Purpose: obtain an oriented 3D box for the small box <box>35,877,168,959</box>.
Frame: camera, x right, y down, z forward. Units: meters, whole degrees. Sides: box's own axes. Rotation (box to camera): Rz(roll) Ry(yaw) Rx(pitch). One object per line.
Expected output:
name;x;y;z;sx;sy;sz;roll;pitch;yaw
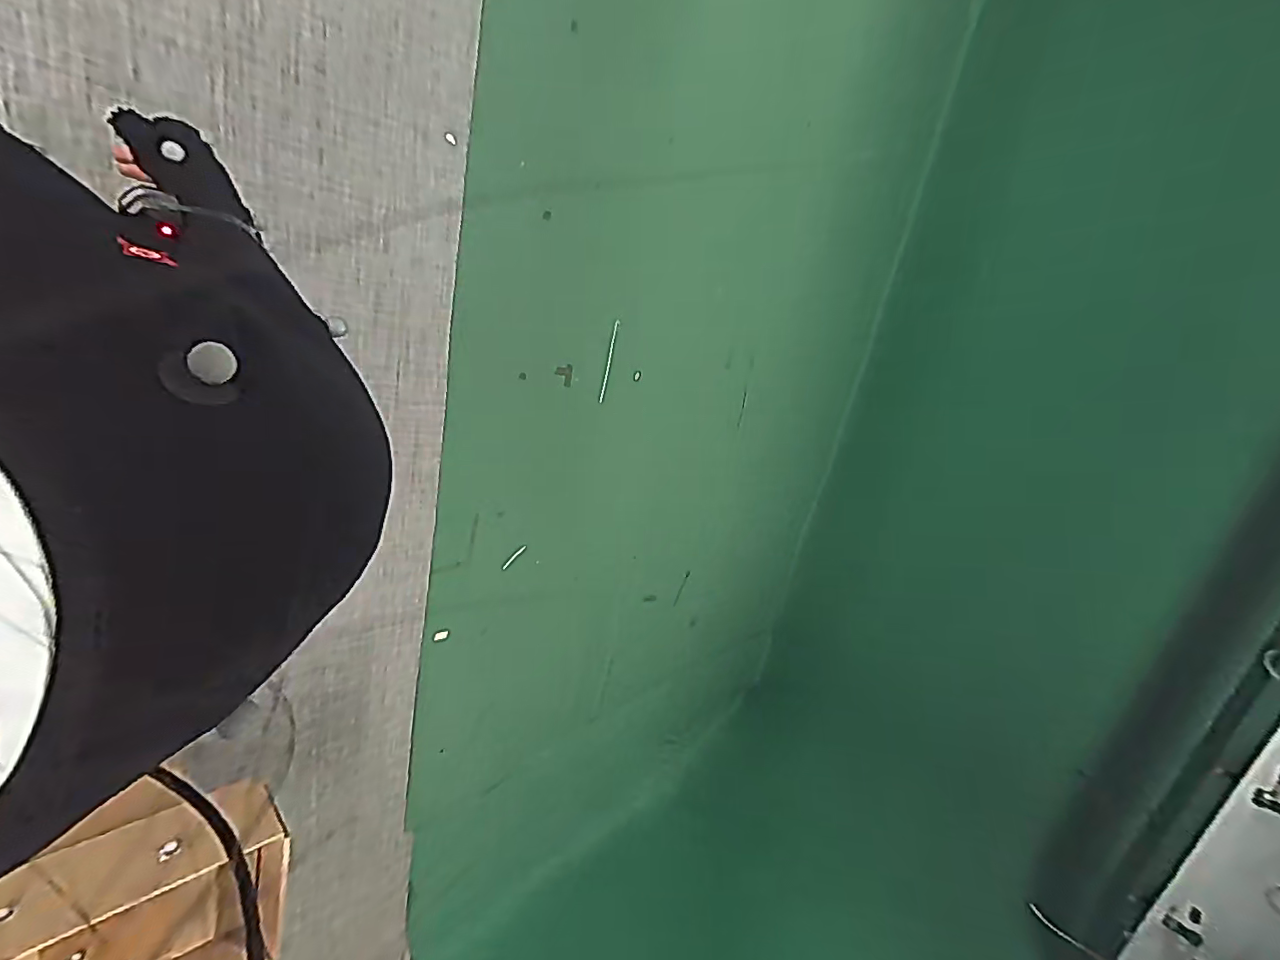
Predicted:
small box;-0.999;0.891;1.006;0.168;0.176;0.179;-4;116;-47
